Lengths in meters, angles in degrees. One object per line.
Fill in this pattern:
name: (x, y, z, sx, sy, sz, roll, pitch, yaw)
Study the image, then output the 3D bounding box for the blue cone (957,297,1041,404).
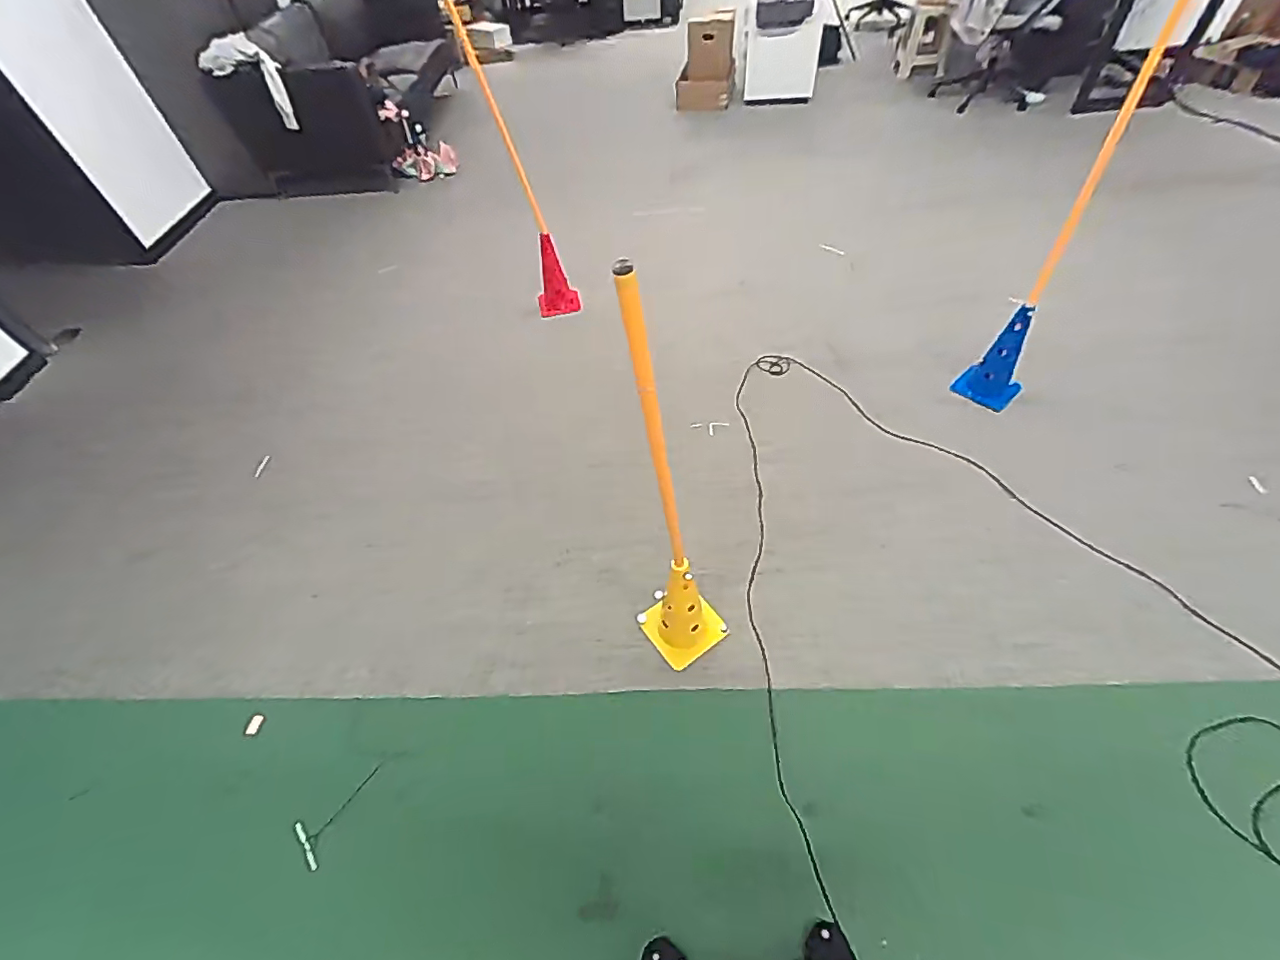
blue cone: (1.309, -0.477, 1.924, 0.193, 0.380, 0.192, -38, 56, -25)
